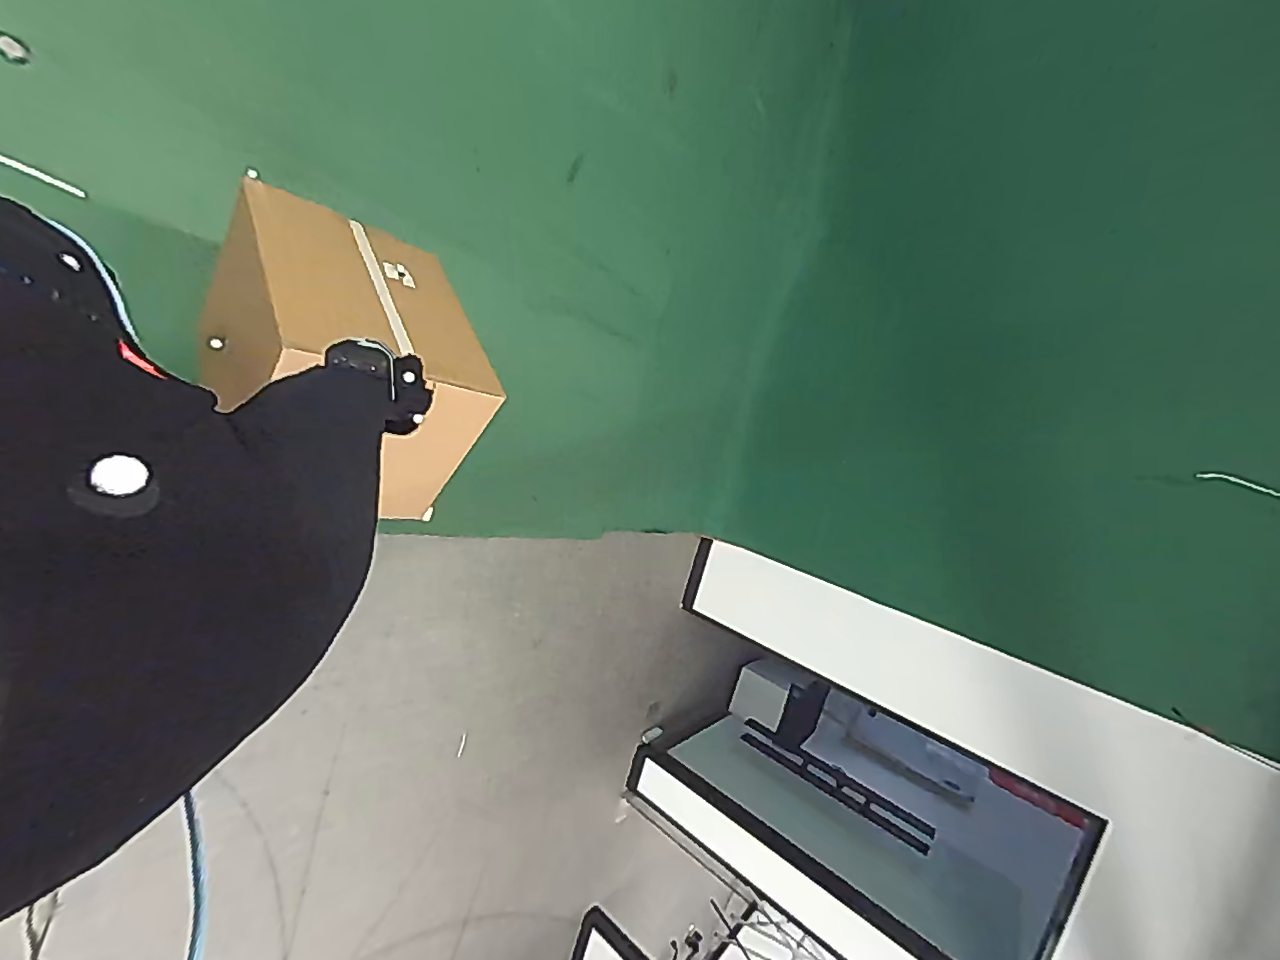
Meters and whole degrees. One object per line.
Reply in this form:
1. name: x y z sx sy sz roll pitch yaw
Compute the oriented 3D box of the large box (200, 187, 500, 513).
1. large box: -0.504 -0.191 0.915 0.320 0.408 0.320 7 133 -50
